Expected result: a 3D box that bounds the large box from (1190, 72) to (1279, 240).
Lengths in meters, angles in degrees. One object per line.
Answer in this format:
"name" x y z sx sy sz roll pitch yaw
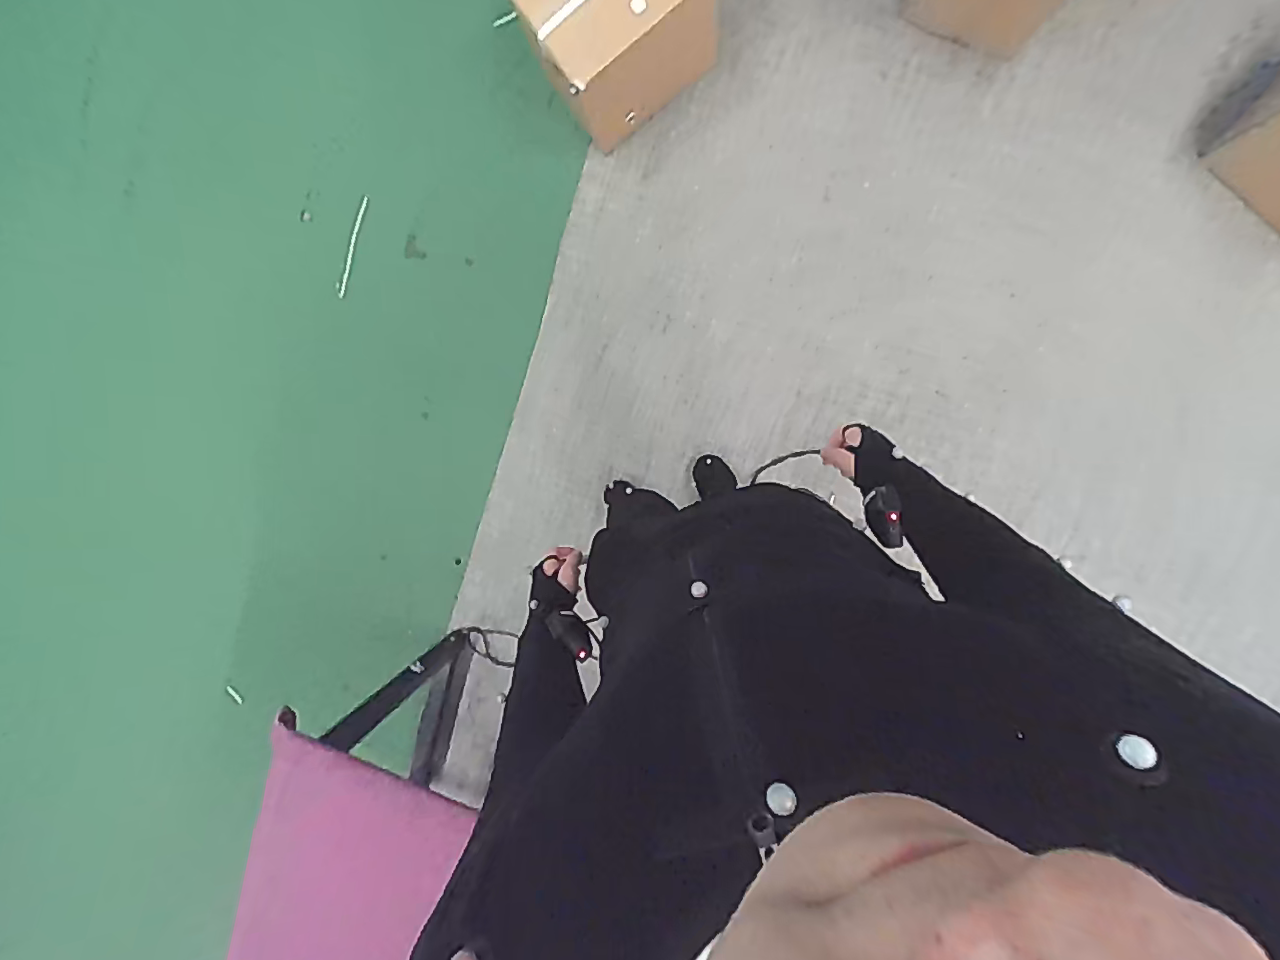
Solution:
"large box" 1.625 -0.772 1.204 0.408 0.320 0.320 43 99 3
